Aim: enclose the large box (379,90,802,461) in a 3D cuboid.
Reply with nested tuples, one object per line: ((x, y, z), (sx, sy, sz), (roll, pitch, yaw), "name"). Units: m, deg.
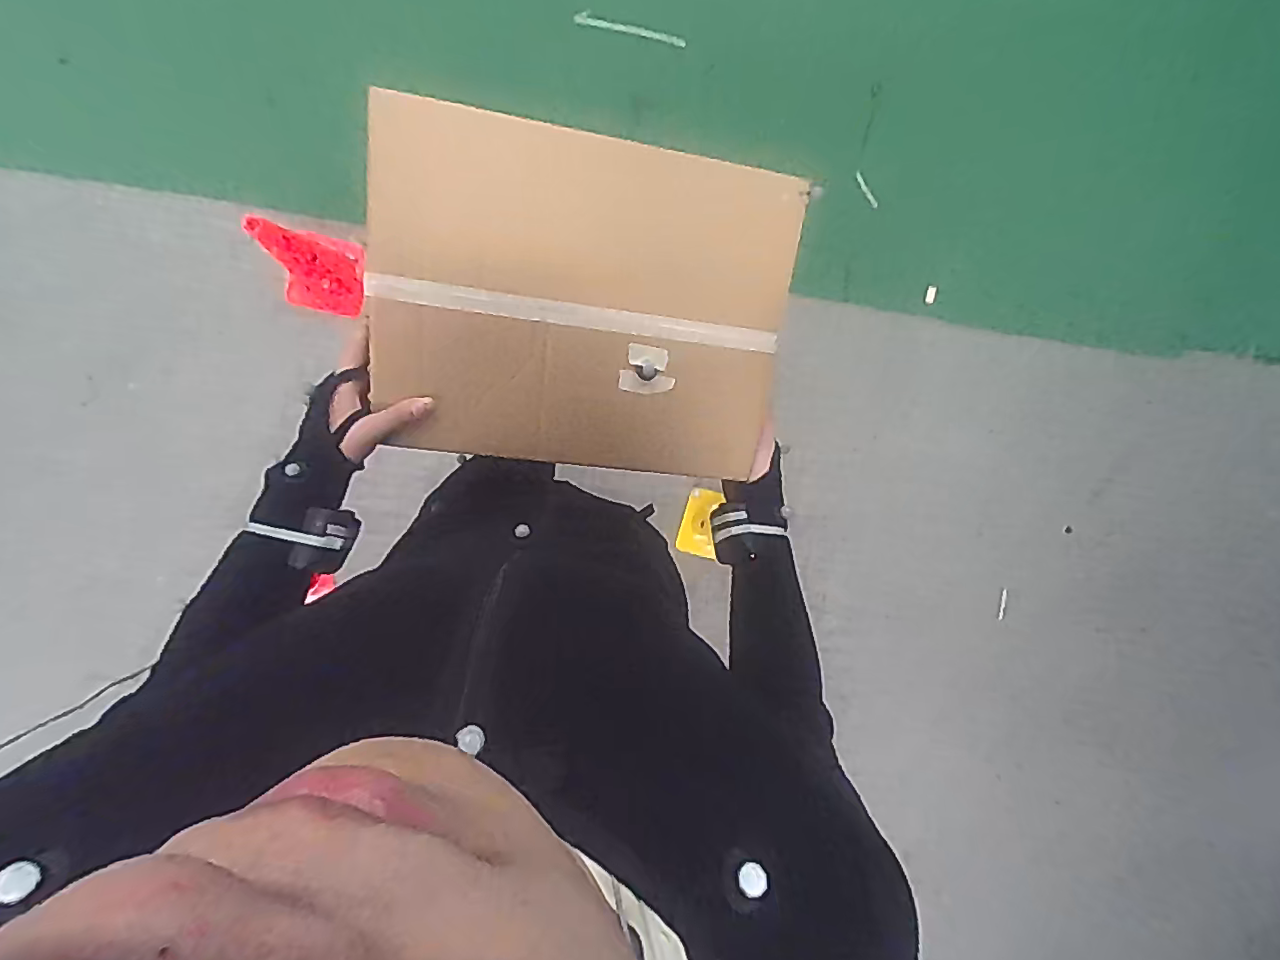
((-0.075, -0.225, 0.684), (0.408, 0.320, 0.320), (5, 108, -11), "large box")

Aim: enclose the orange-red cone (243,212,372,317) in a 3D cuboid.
((-0.833, -0.551, 1.305), (0.199, 0.360, 0.198), (14, 92, -6), "orange-red cone")
